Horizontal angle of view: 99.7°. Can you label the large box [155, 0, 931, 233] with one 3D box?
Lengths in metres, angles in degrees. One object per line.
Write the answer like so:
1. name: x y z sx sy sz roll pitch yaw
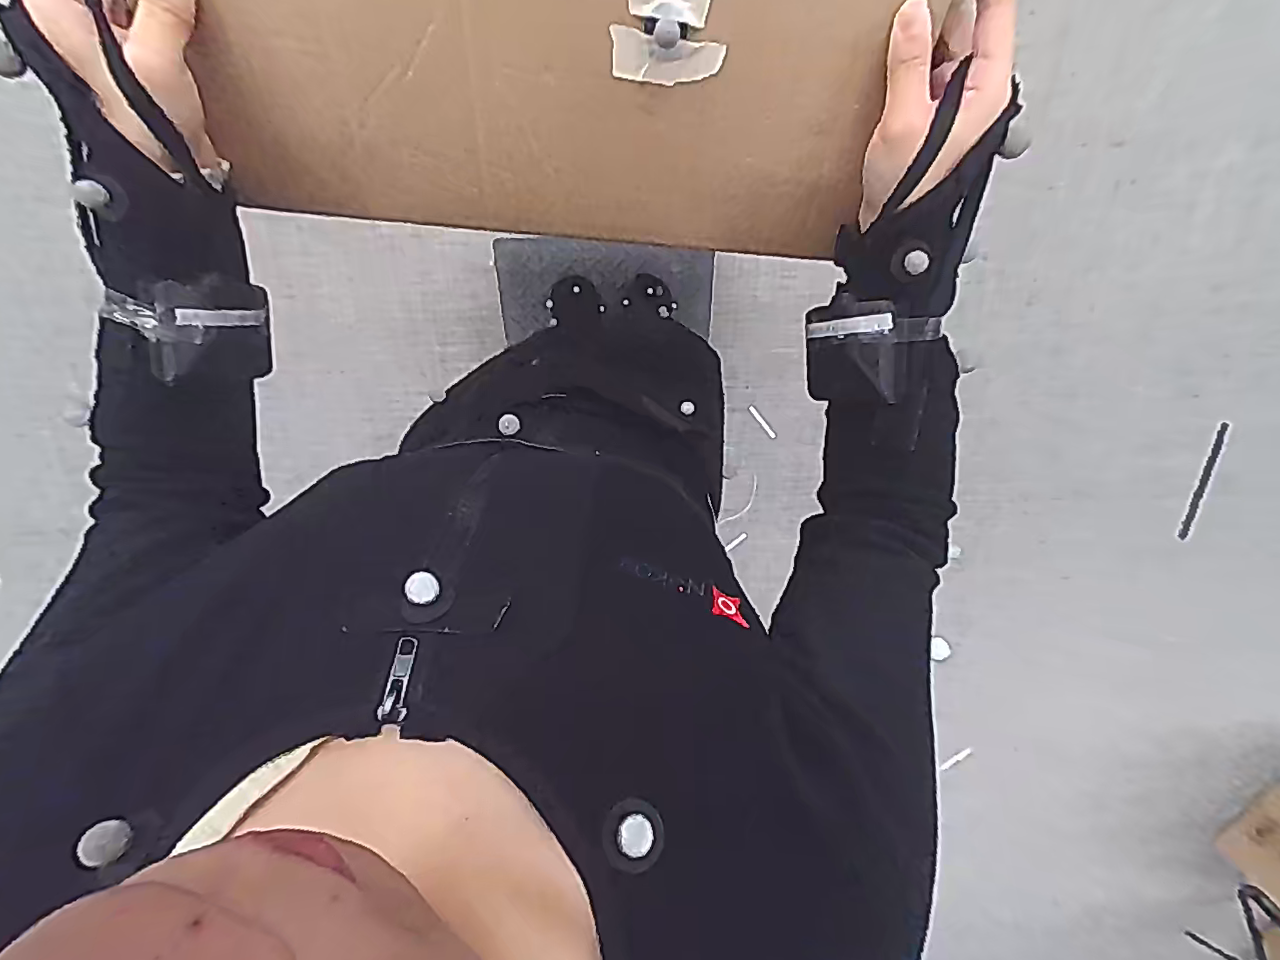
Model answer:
1. large box: -0.047 -0.386 0.343 0.408 0.320 0.320 3 139 -3
